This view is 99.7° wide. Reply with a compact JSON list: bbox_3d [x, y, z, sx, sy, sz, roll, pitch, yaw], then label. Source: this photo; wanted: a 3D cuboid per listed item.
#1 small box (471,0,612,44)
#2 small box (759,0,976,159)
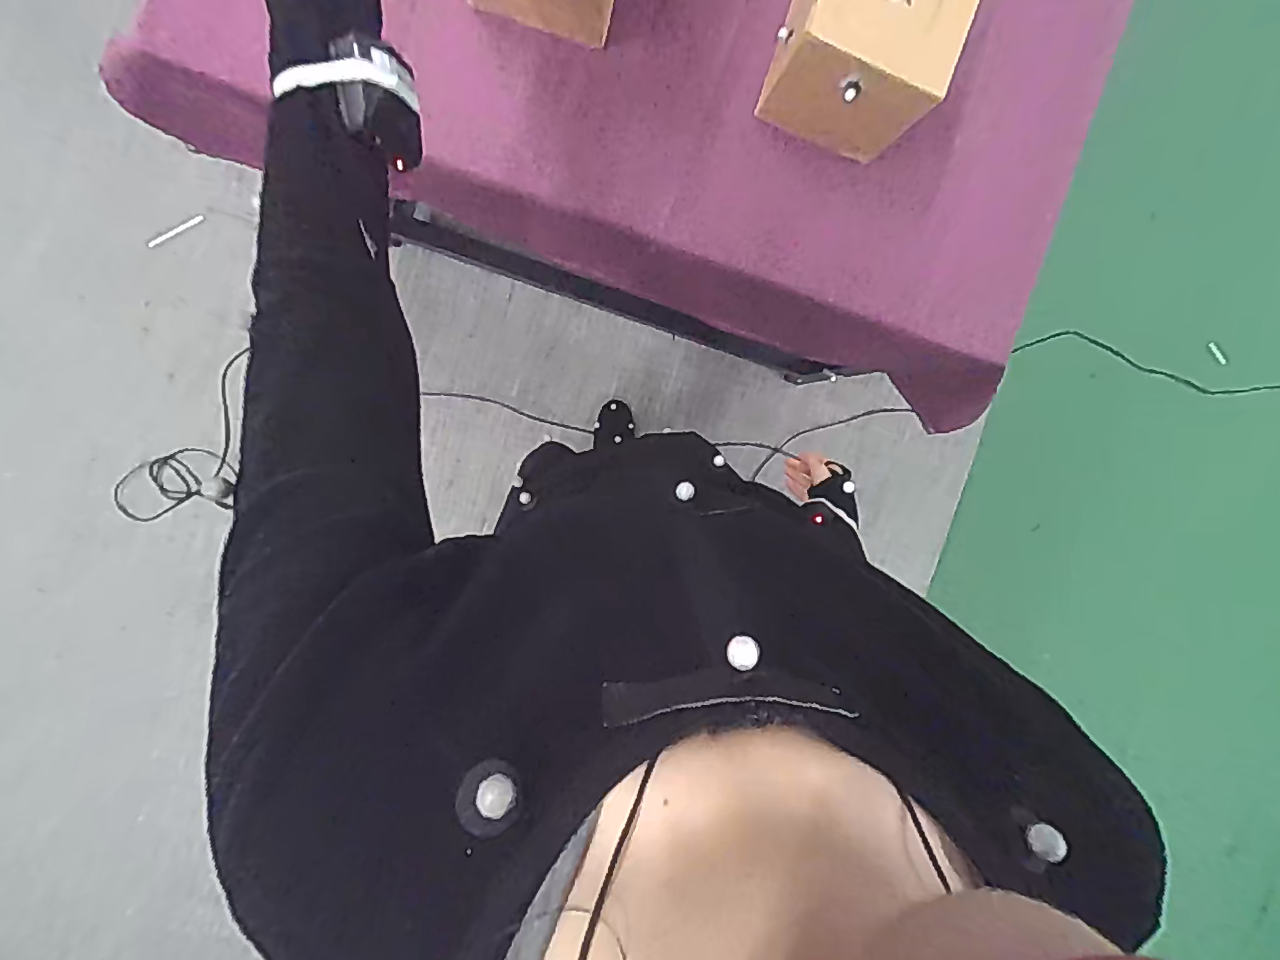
[{"bbox_3d":[-0.107,-0.645,0.606,0.179,0.176,0.168,12,94,-9],"label":"small box"},{"bbox_3d":[0.269,-0.534,0.661,0.179,0.176,0.168,19,94,-9],"label":"small box"}]
